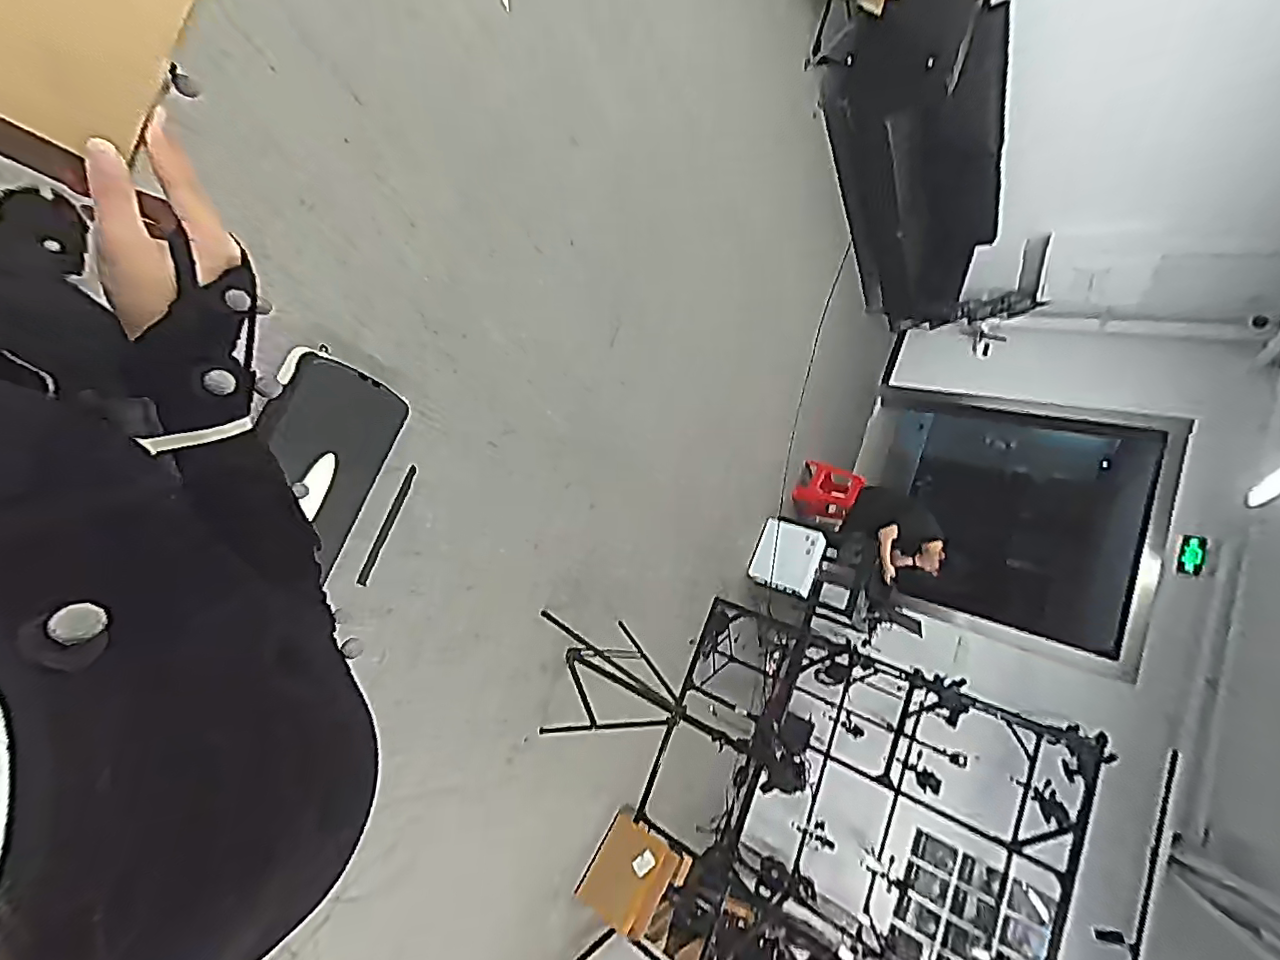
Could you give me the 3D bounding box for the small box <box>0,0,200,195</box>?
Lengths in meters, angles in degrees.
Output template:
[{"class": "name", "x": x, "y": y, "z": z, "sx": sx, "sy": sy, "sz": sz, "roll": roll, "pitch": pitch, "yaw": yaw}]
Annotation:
[{"class": "small box", "x": -0.363, "y": -0.287, "z": 0.296, "sx": 0.168, "sy": 0.176, "sz": 0.179, "roll": 22, "pitch": 88, "yaw": -47}]
